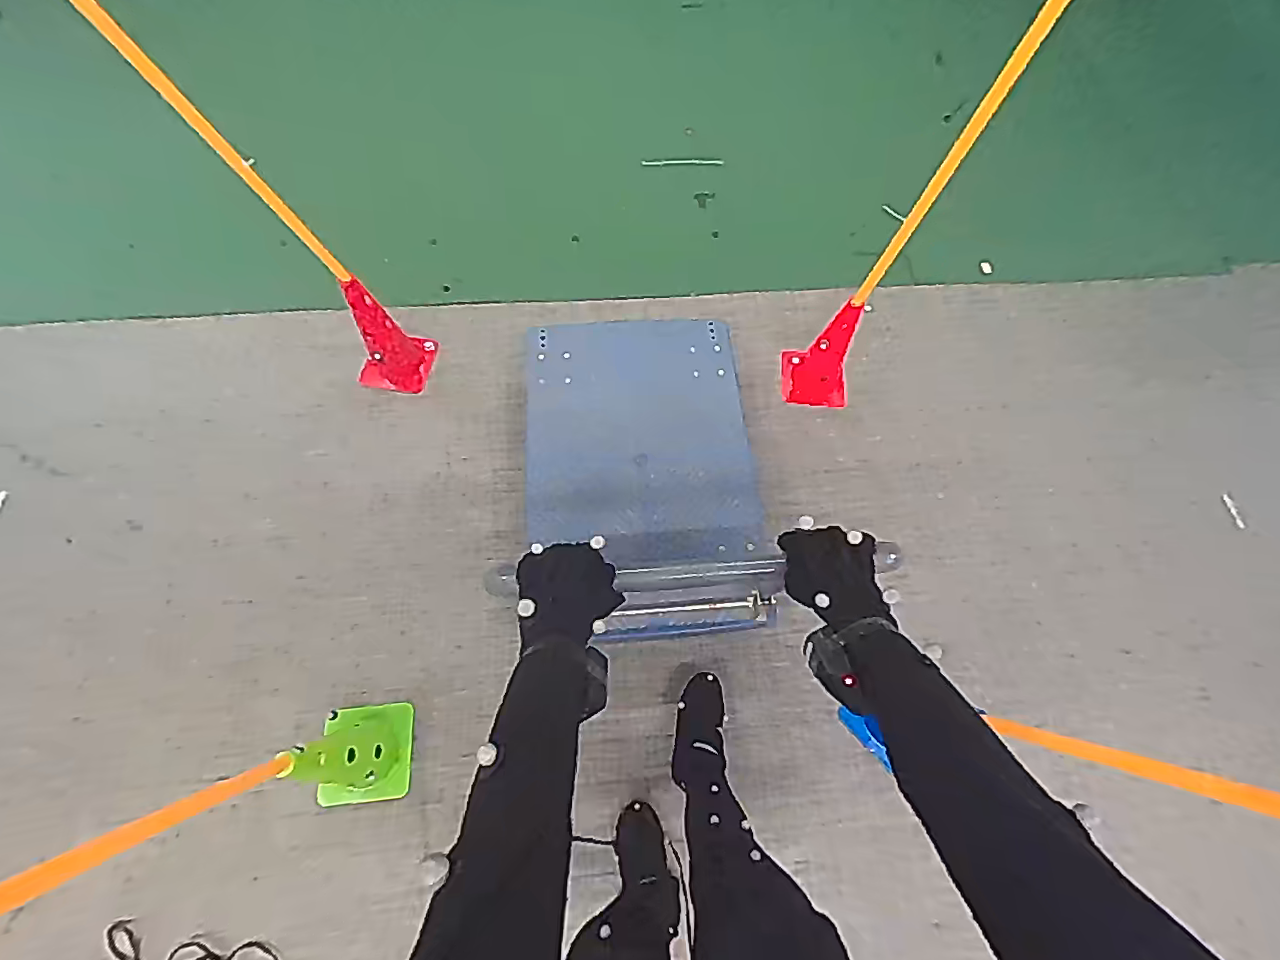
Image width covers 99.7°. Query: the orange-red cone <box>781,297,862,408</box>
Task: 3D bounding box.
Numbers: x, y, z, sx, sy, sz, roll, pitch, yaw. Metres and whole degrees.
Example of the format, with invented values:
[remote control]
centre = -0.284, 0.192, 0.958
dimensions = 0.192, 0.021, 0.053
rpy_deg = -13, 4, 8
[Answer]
[orange-red cone]
centre = 0.550, -0.384, 1.548
dimensions = 0.198, 0.360, 0.199
rpy_deg = 6, 67, 1
